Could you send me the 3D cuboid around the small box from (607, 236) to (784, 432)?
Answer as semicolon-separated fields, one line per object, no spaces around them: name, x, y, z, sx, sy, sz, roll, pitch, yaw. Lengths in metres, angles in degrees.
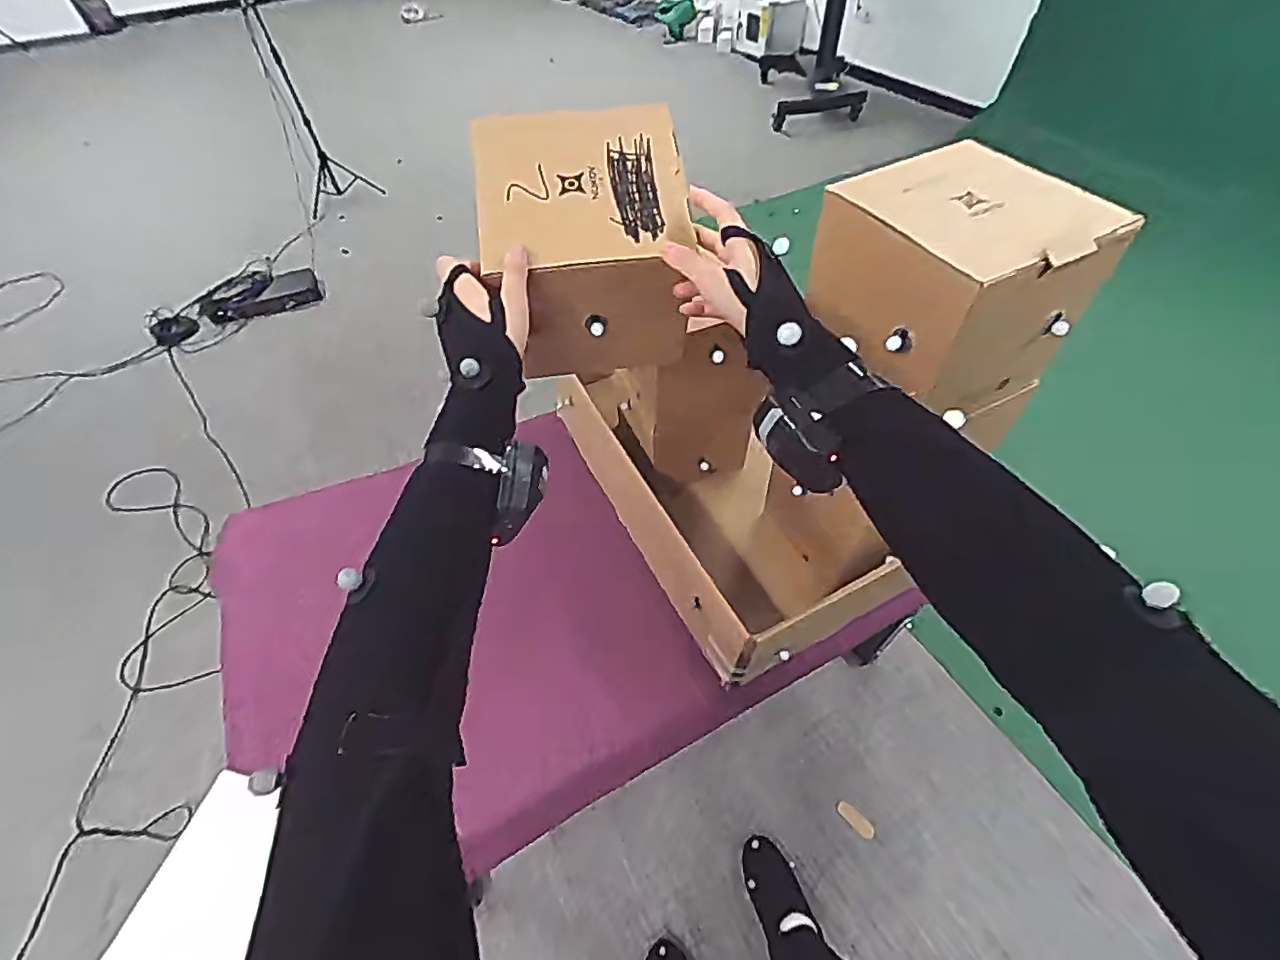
small box;0.067;-0.195;0.738;0.179;0.176;0.168;-20;56;-11

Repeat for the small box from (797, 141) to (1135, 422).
small box;0.272;-0.175;0.502;0.168;0.176;0.179;-23;54;-13

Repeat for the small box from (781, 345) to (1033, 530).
small box;0.287;-0.073;0.628;0.179;0.176;0.168;-24;55;-12
